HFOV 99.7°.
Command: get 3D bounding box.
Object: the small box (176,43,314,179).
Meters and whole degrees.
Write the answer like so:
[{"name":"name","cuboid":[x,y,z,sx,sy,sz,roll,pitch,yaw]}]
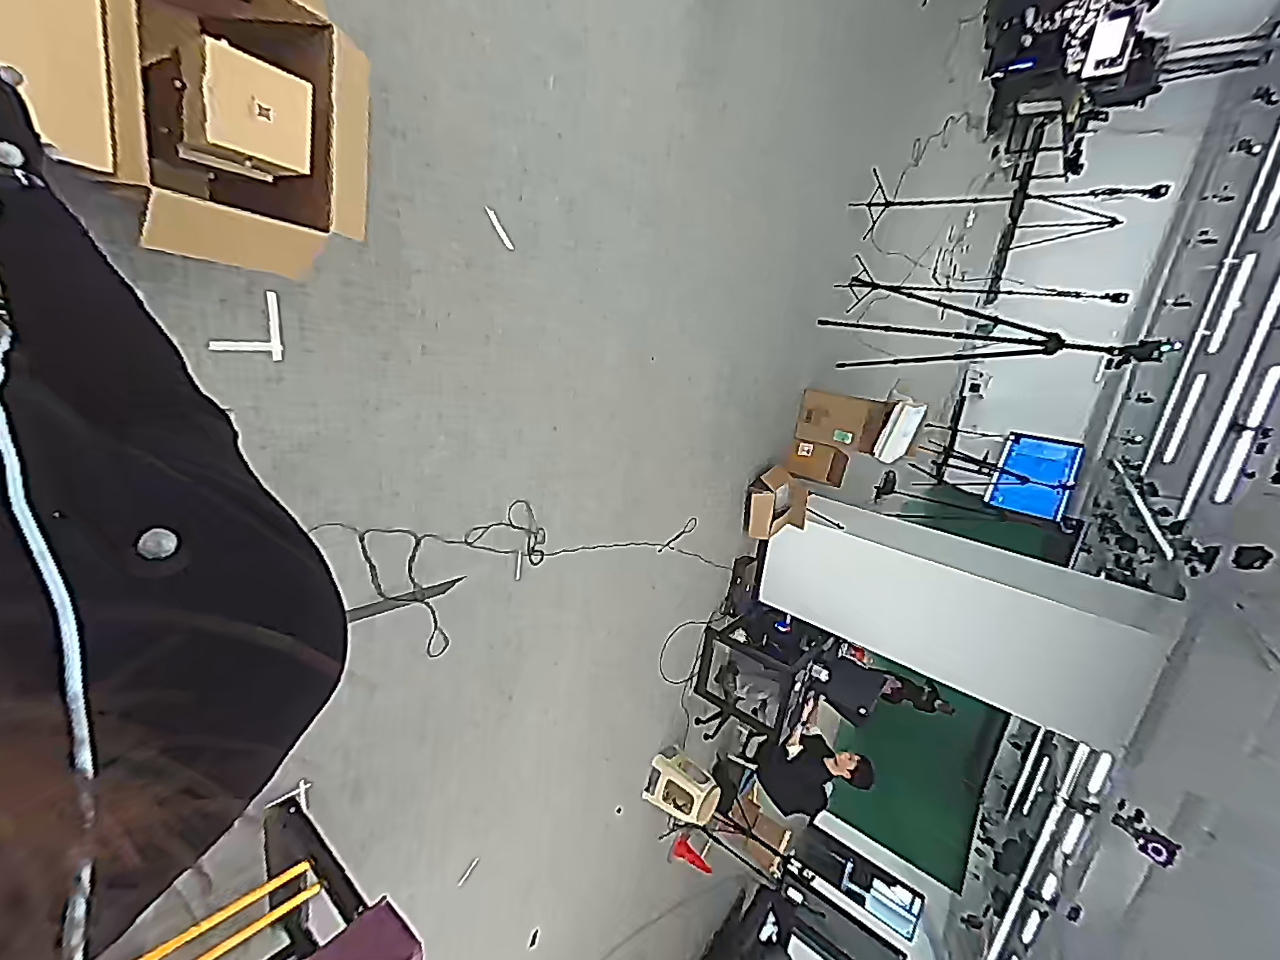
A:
[{"name":"small box","cuboid":[-0.771,-0.709,1.058,0.179,0.176,0.168,-9,115,-52]}]
